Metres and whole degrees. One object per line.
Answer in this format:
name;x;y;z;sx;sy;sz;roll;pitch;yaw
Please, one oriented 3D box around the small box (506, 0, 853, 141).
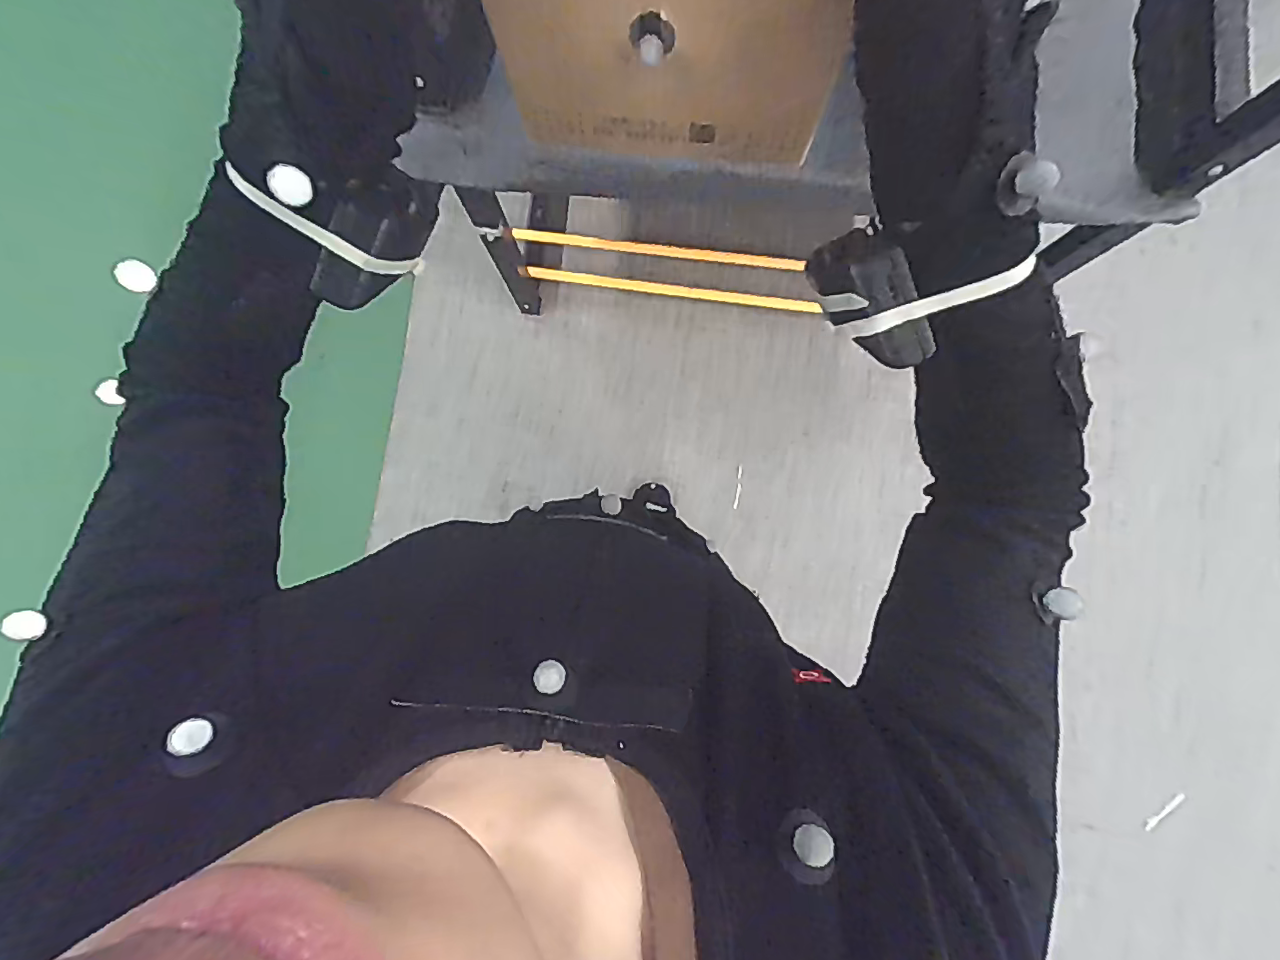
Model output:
small box;0.025;-0.297;0.252;0.168;0.176;0.179;7;85;3
